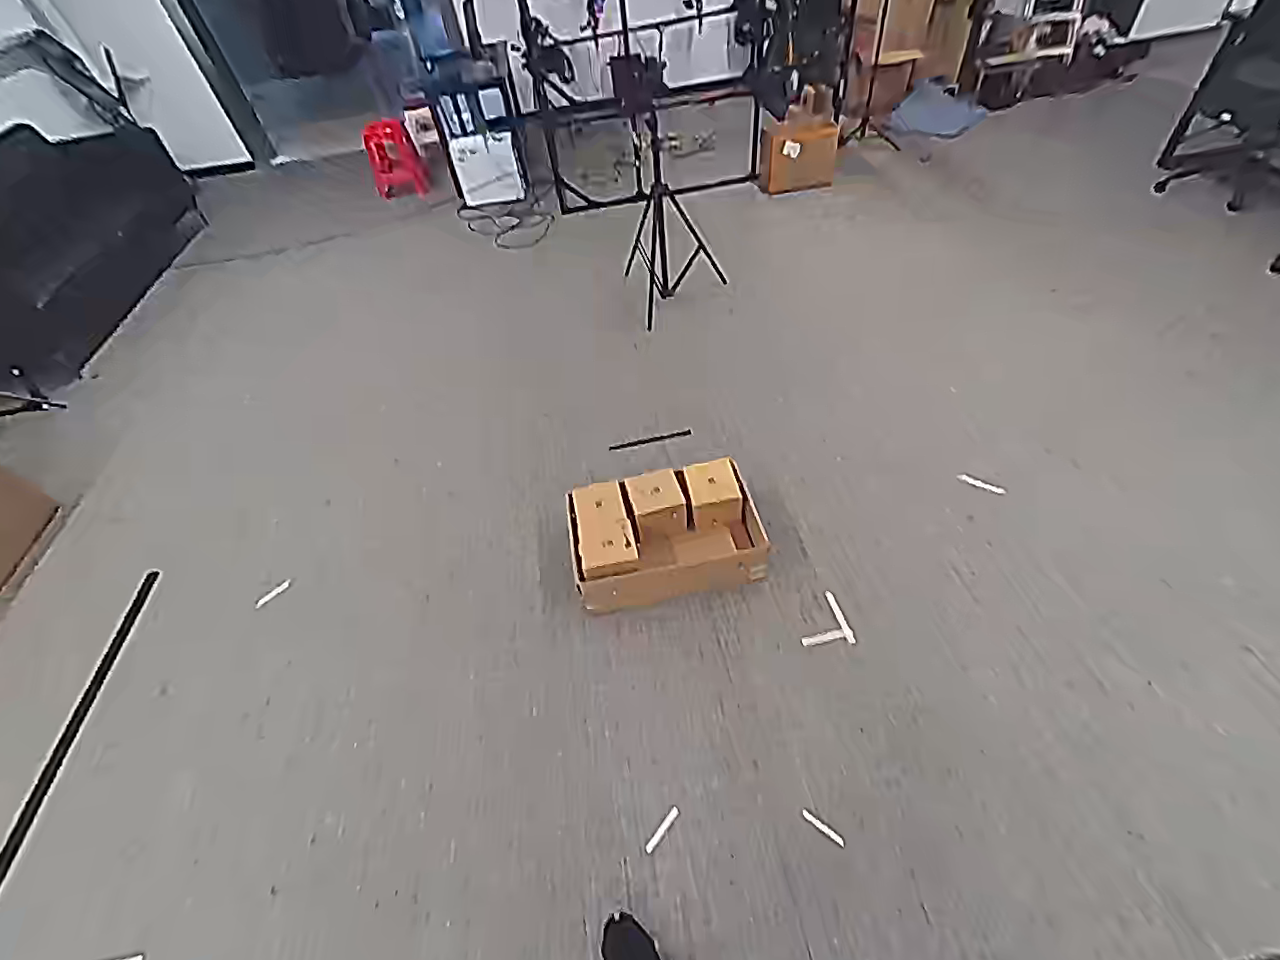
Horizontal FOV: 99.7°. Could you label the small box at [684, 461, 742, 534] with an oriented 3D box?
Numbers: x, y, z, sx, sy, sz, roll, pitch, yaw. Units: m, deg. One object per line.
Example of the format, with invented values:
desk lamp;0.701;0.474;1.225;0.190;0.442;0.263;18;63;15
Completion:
small box;0.250;0.064;1.890;0.168;0.176;0.179;-12;51;-2
